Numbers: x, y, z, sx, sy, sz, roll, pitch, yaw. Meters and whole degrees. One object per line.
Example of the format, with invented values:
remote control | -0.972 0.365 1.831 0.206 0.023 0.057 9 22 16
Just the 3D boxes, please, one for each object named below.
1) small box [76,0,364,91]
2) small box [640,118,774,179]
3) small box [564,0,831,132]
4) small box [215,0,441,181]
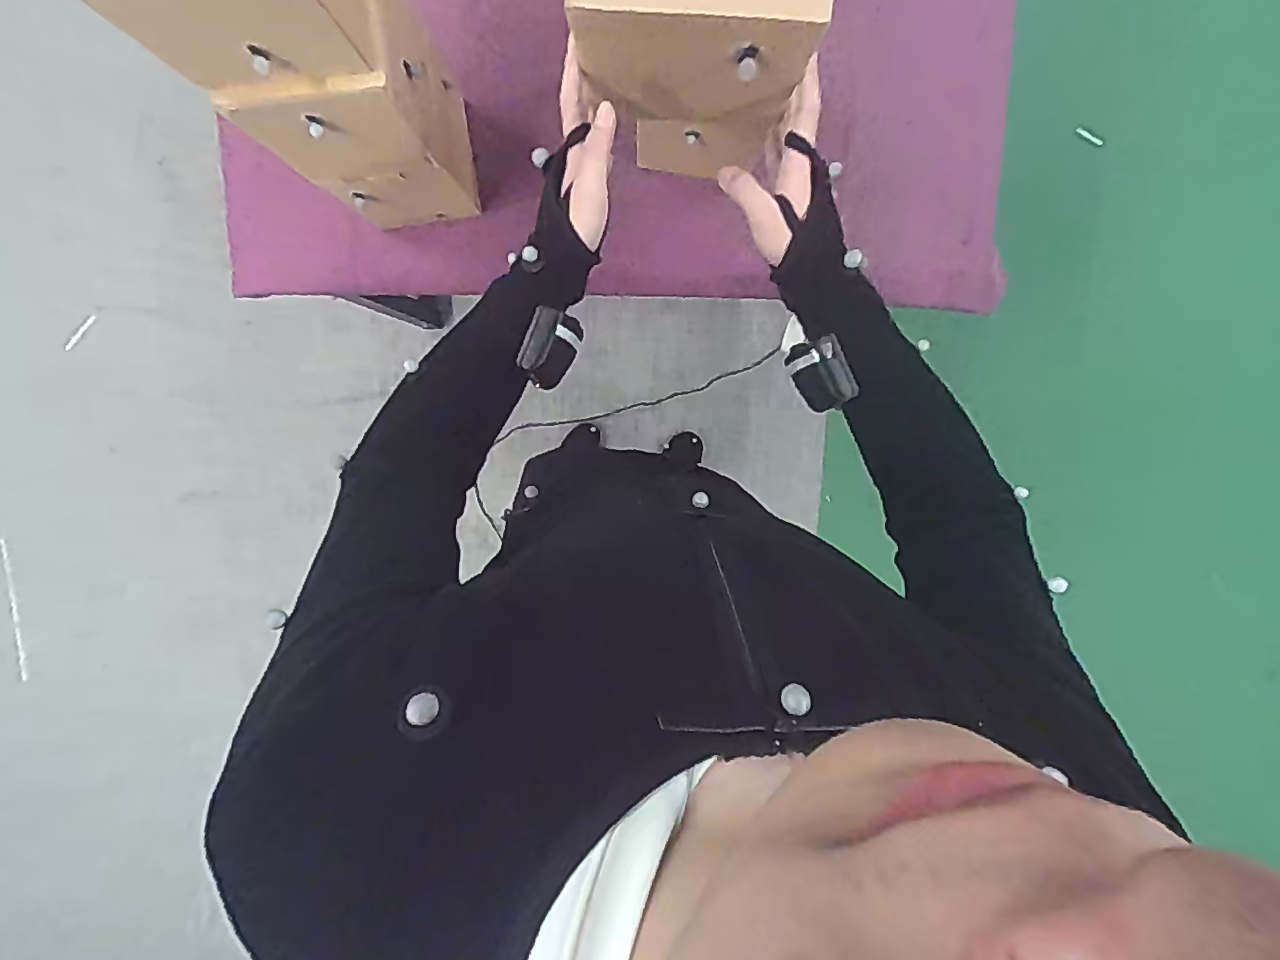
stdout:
small box | -0.348 -0.454 0.437 0.179 0.176 0.168 -5 96 1
small box | 0.094 -0.545 0.754 0.179 0.176 0.168 7 98 -1
small box | 0.044 -0.392 0.415 0.179 0.176 0.168 4 103 1
small box | -0.337 -0.458 0.601 0.179 0.176 0.168 -6 97 1
